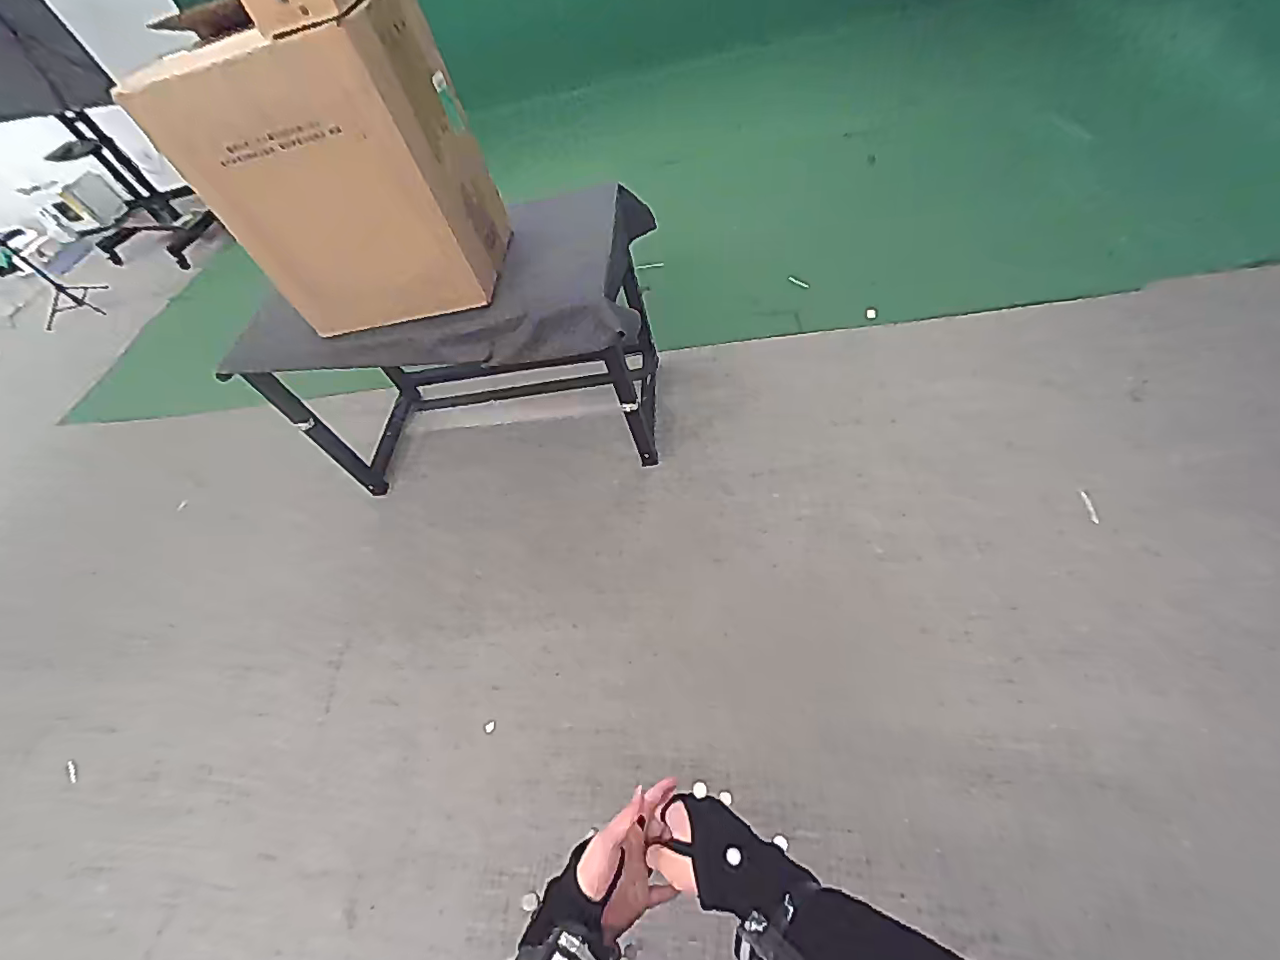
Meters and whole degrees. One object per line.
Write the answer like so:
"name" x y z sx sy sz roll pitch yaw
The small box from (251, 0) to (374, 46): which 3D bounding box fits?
"small box" -0.626 -0.939 0.996 0.168 0.176 0.179 -7 54 10
